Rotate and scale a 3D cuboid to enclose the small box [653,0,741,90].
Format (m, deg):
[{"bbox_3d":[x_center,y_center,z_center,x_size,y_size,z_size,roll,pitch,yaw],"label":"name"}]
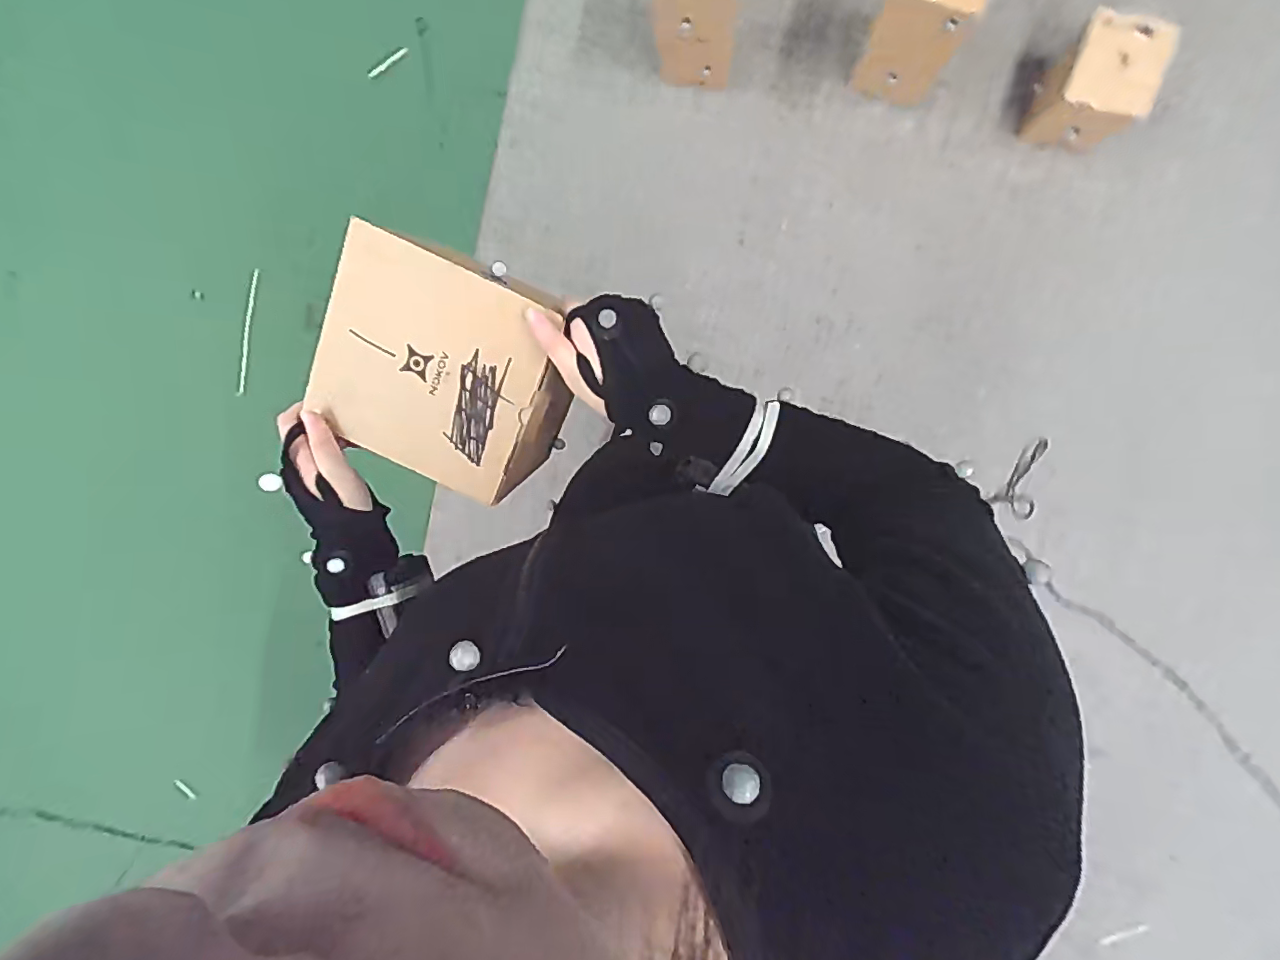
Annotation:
[{"bbox_3d":[0.136,-1.047,1.249,0.168,0.176,0.179,14,100,5],"label":"small box"}]

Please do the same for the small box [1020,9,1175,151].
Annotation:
[{"bbox_3d":[0.965,-0.846,1.164,0.168,0.176,0.179,18,101,5],"label":"small box"}]

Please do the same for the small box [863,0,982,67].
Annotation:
[{"bbox_3d":[0.556,-0.944,1.039,0.179,0.176,0.168,19,100,5],"label":"small box"}]

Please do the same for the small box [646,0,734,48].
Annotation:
[{"bbox_3d":[0.112,-1.020,1.089,0.168,0.176,0.179,13,100,5],"label":"small box"}]
